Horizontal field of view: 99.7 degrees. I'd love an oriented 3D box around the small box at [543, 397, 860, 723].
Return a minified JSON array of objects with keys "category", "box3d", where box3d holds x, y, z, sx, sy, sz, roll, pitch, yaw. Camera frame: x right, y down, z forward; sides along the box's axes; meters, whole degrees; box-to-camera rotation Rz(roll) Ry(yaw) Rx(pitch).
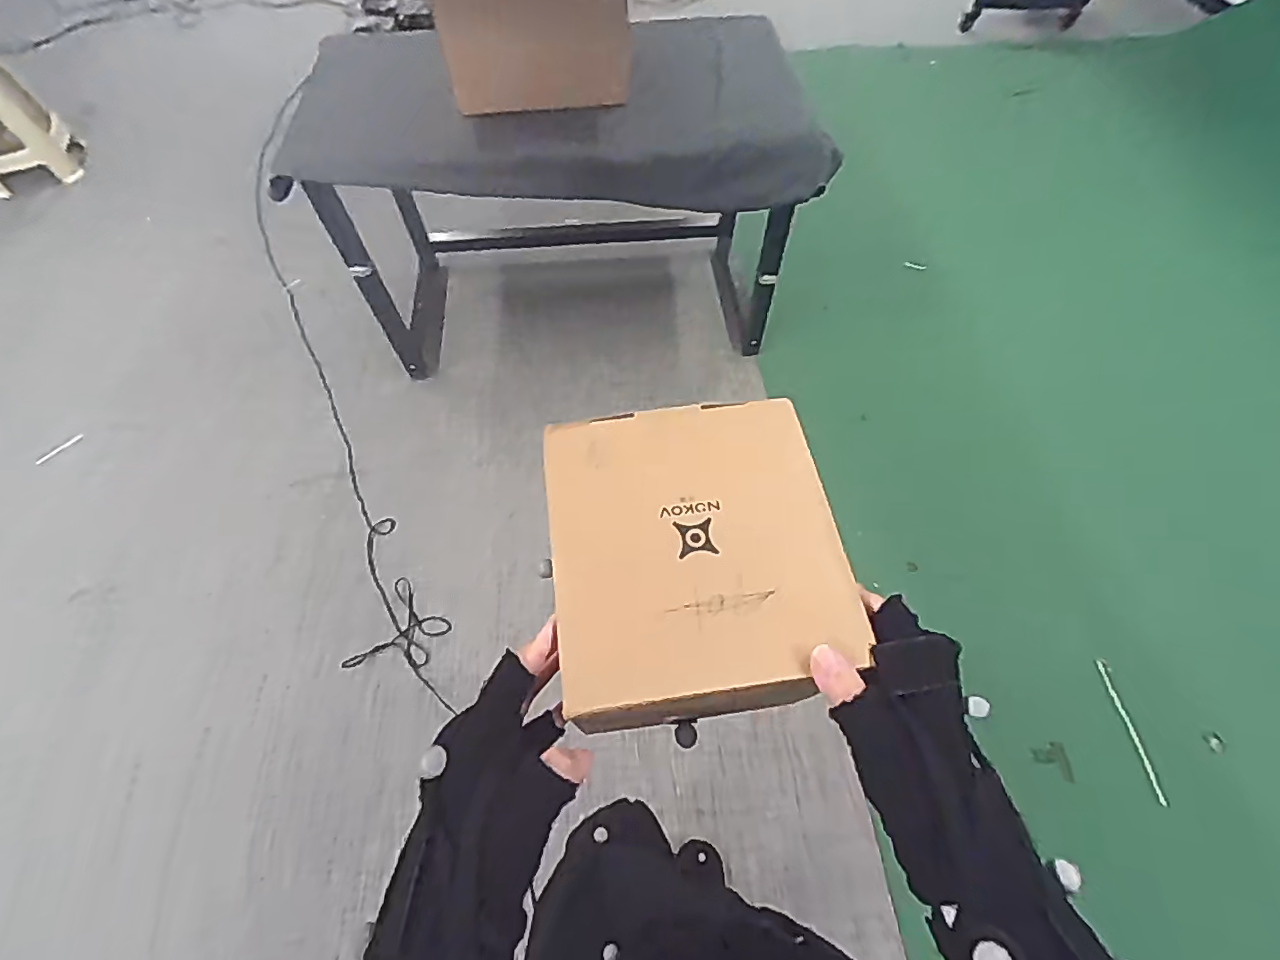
[{"category":"small box","box3d":[0.025,0.065,0.391,0.168,0.176,0.179,-7,62,-4]}]
